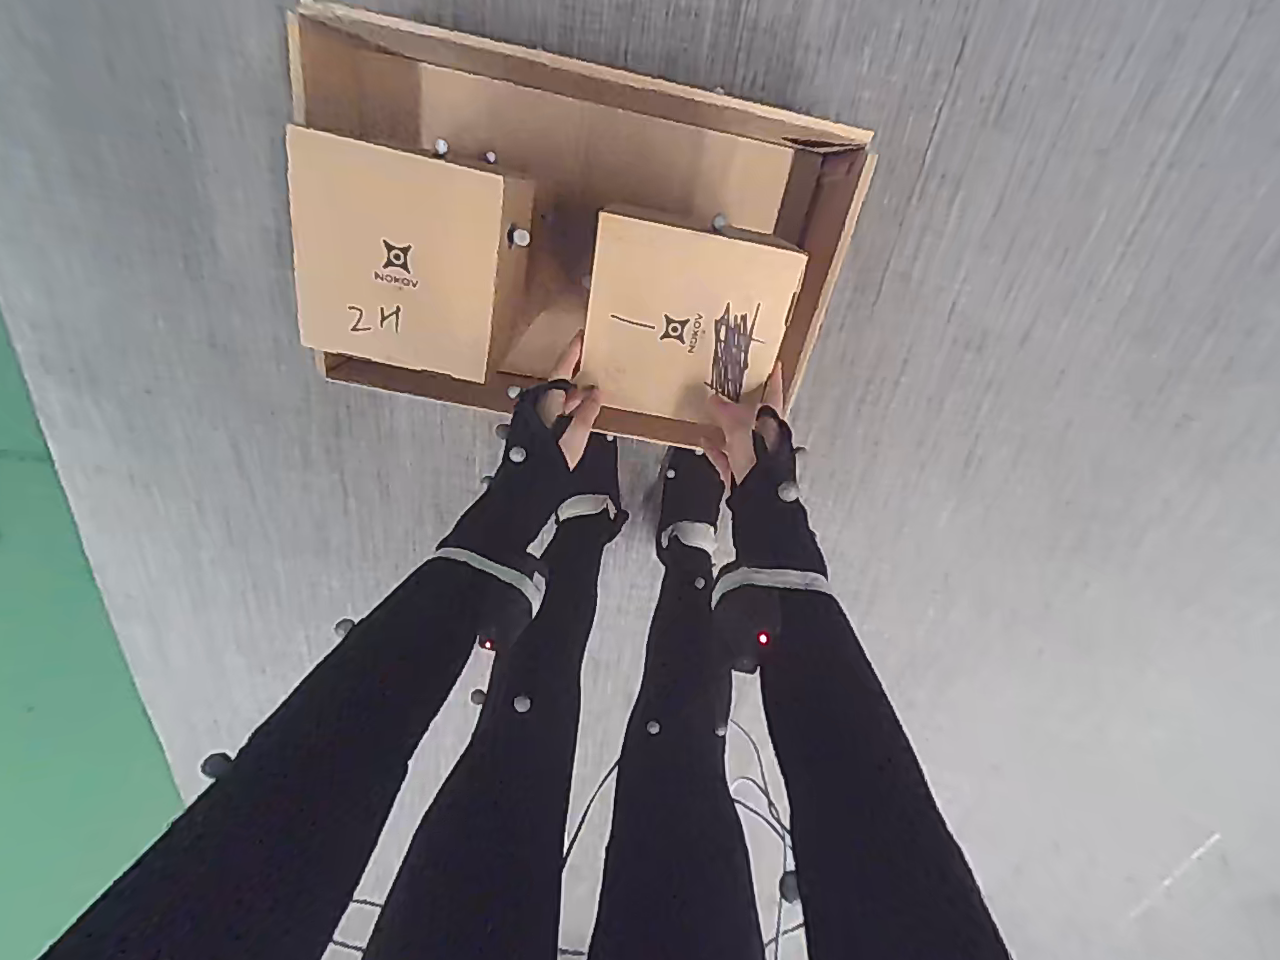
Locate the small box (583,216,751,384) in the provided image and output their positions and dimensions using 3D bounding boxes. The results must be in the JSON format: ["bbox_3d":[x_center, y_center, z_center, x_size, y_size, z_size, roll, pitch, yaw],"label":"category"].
[{"bbox_3d":[0.031,-0.243,0.710,0.179,0.176,0.168,9,118,-2],"label":"small box"}]

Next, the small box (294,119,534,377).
[{"bbox_3d":[-0.207,-0.224,0.532,0.168,0.176,0.179,12,117,-5],"label":"small box"}]
